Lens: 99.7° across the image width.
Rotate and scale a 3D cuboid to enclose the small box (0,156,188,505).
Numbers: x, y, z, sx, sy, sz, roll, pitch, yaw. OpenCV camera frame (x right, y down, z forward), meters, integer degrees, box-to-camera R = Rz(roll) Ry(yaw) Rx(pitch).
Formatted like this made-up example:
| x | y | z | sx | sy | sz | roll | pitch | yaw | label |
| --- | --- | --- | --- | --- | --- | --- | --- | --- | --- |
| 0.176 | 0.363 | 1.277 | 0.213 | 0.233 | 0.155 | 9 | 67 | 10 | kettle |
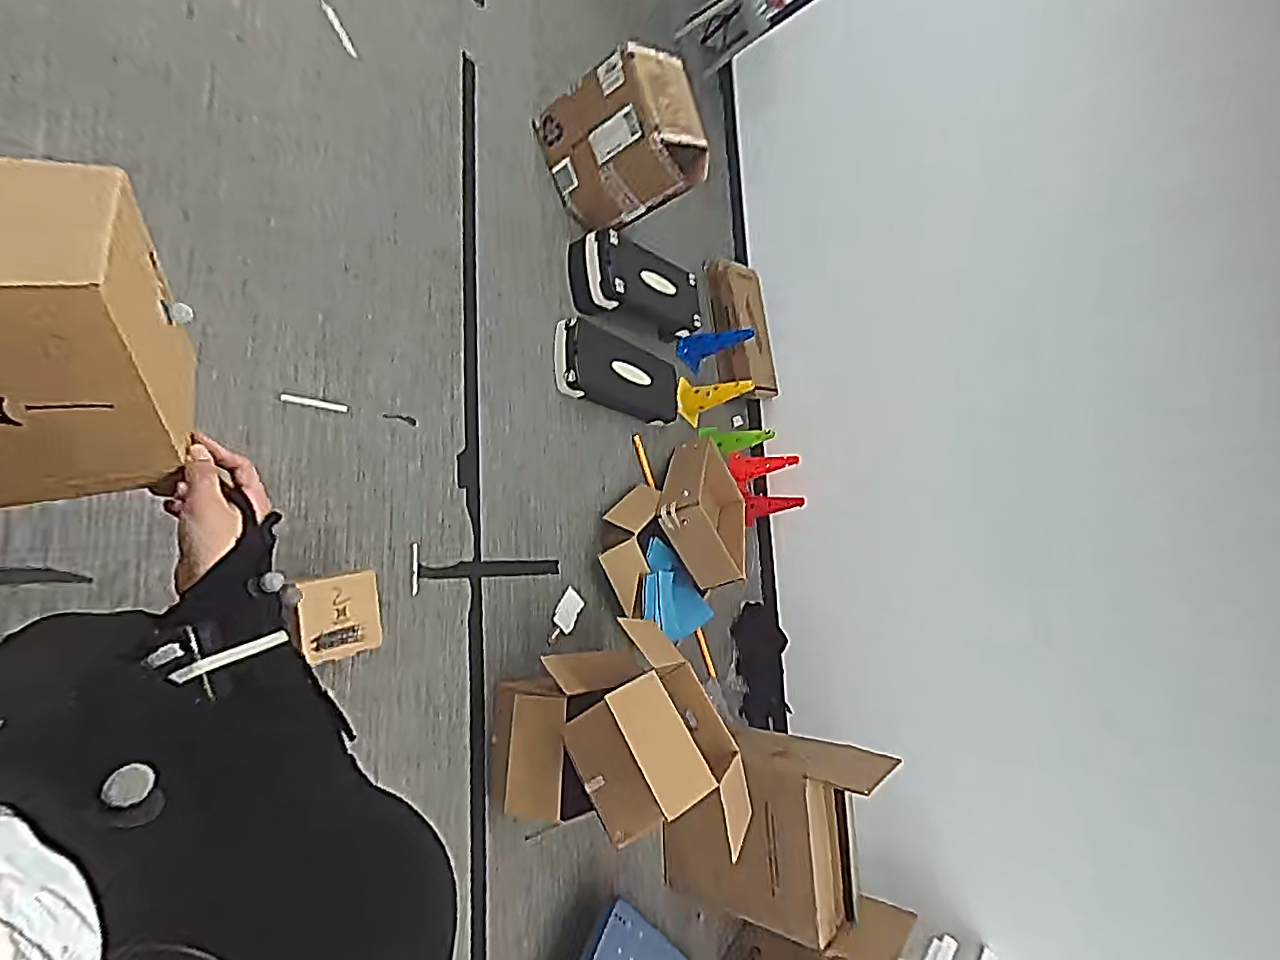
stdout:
| x | y | z | sx | sy | sz | roll | pitch | yaw | label |
| --- | --- | --- | --- | --- | --- | --- | --- | --- | --- |
| -0.432 | -0.100 | 0.360 | 0.179 | 0.168 | 0.176 | -11 | 54 | -29 | small box |
